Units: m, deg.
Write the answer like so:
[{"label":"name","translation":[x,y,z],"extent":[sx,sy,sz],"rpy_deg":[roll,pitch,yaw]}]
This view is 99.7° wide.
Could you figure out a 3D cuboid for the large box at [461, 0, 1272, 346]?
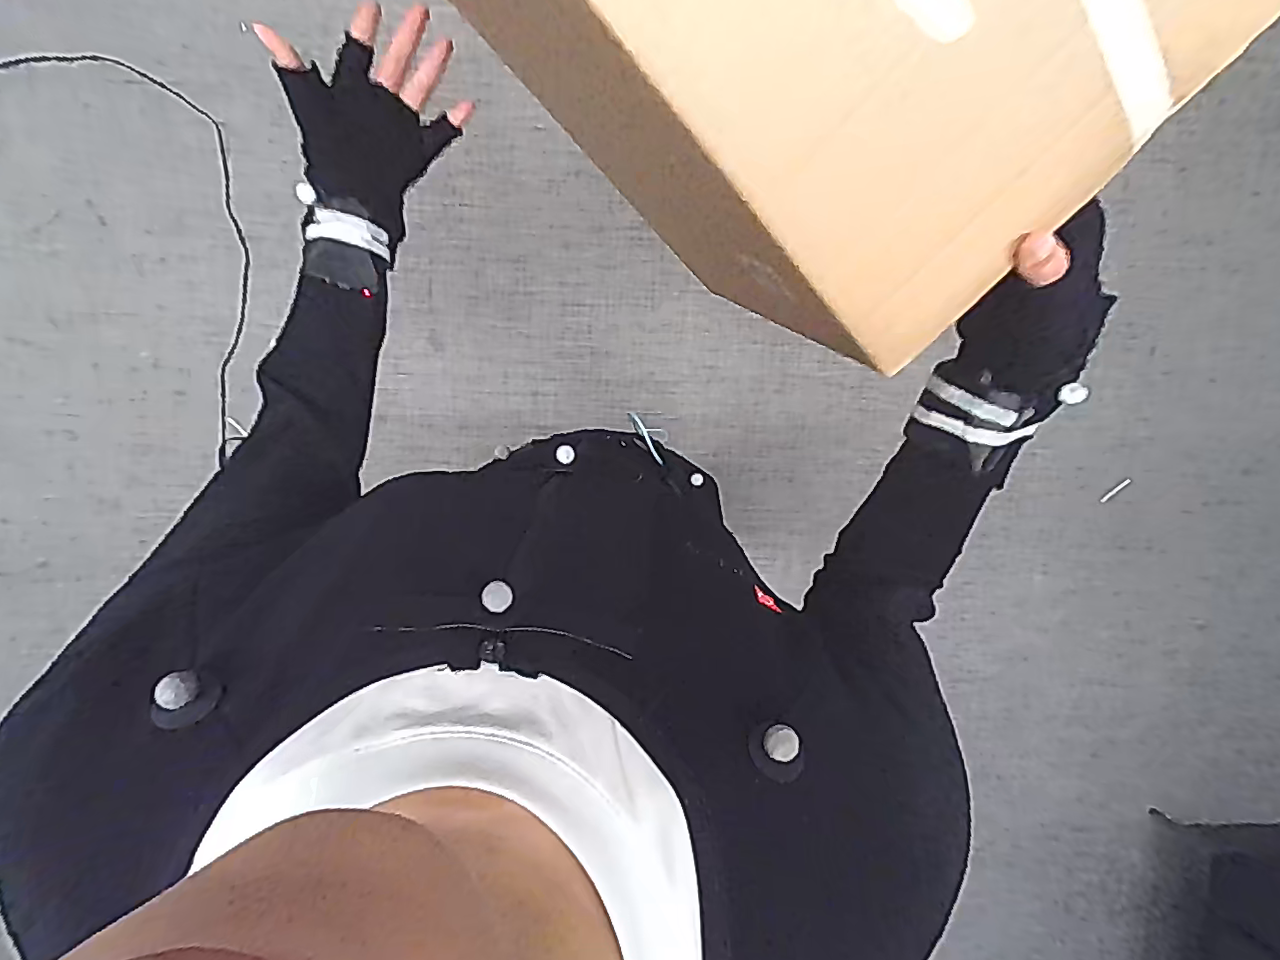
[{"label":"large box","translation":[0.075,-0.351,0.309],"extent":[0.408,0.320,0.320],"rpy_deg":[38,104,-27]}]
